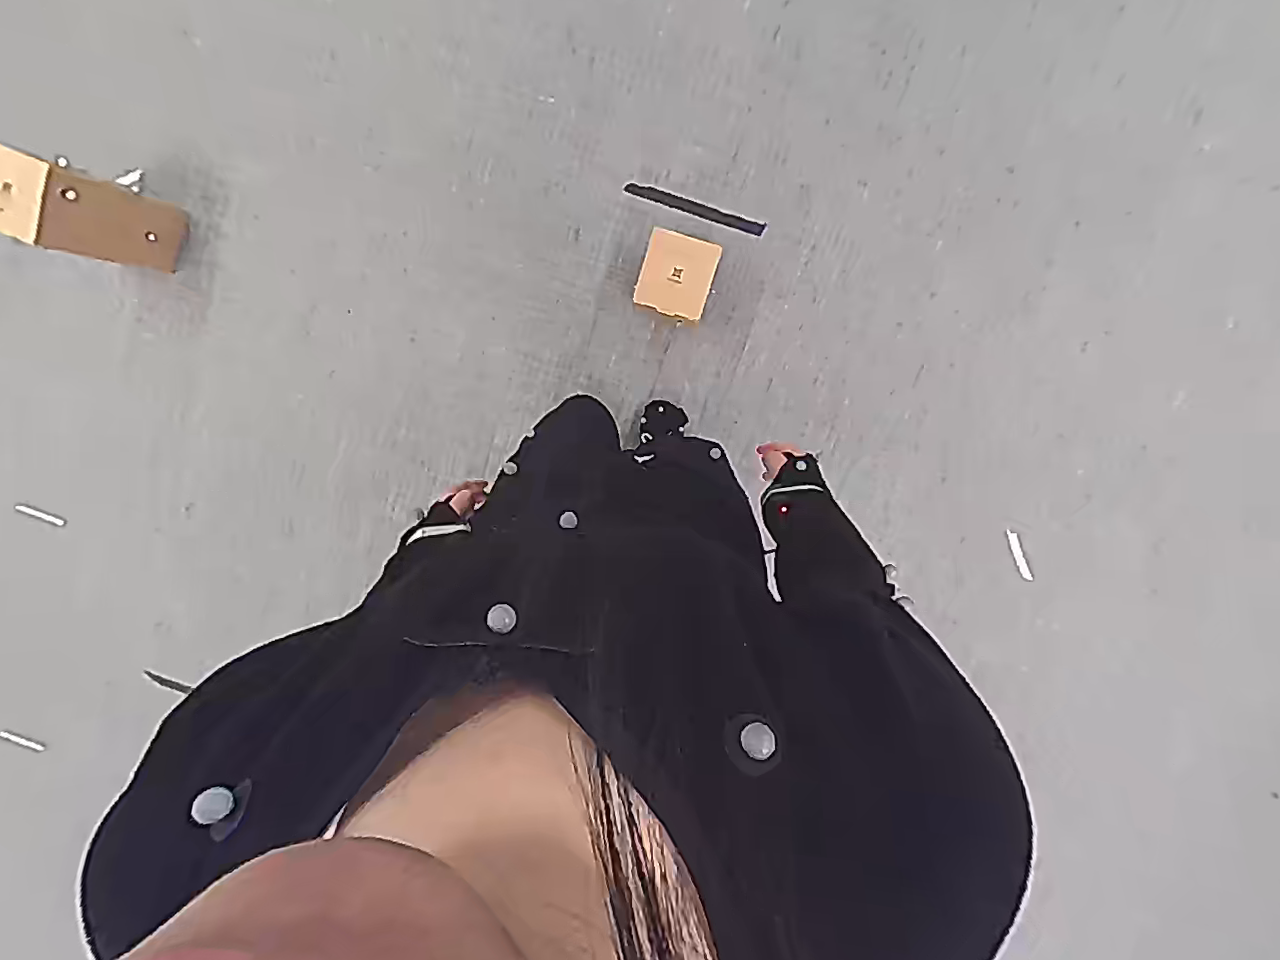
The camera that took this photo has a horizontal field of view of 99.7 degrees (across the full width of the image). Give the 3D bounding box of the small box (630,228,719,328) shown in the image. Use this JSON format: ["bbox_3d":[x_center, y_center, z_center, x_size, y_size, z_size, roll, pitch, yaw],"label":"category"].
[{"bbox_3d":[0.084,-0.483,1.322,0.168,0.176,0.179,17,100,0],"label":"small box"}]

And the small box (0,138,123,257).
[{"bbox_3d":[-1.328,-0.631,1.215,0.168,0.176,0.179,24,102,0],"label":"small box"}]
